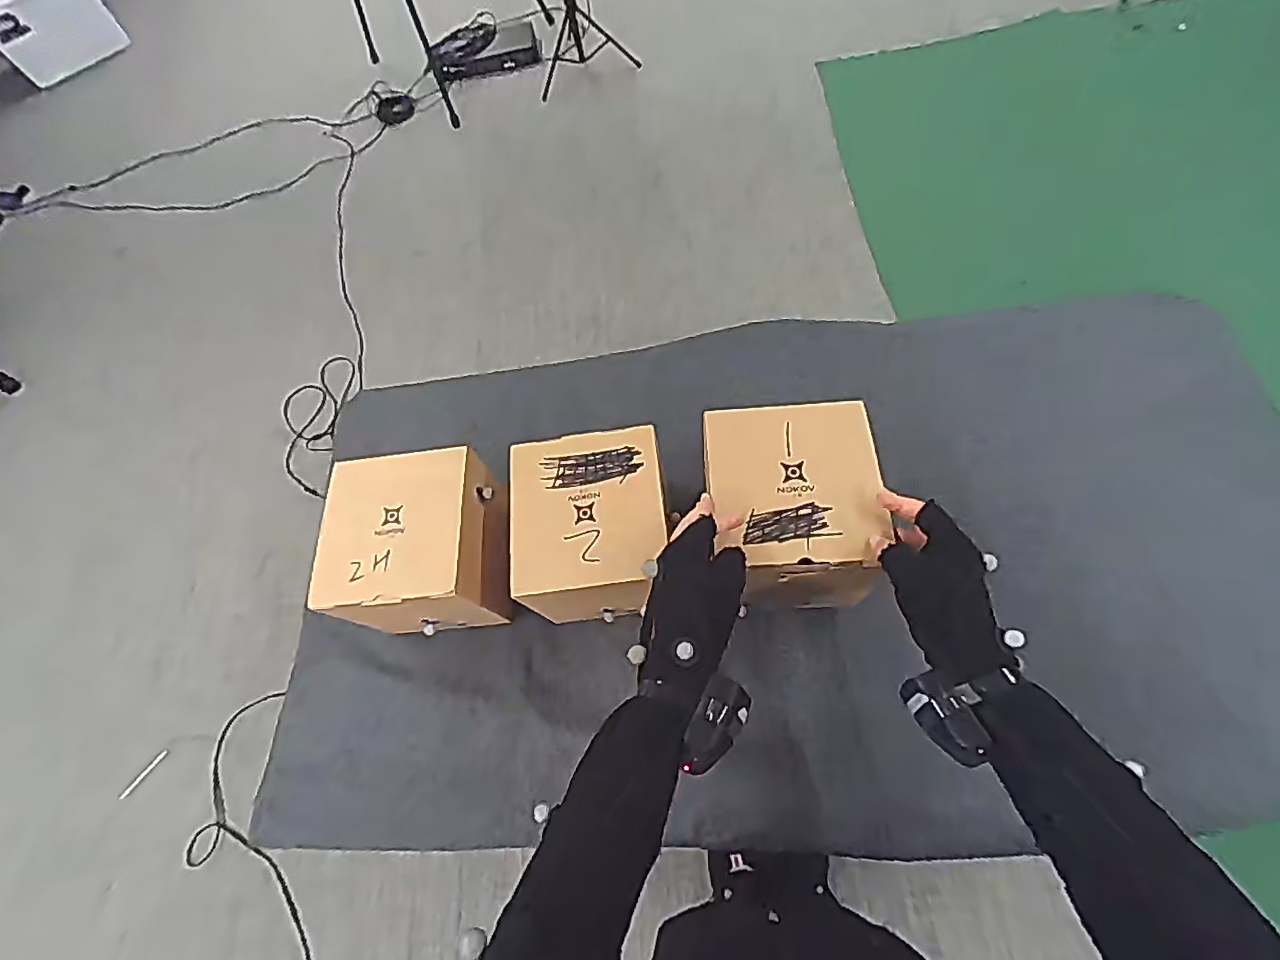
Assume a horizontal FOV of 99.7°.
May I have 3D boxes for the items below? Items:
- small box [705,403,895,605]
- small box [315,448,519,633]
[{"bbox_3d":[0.161,0.038,0.601,0.168,0.176,0.179,-3,62,7],"label":"small box"},{"bbox_3d":[-0.256,0.082,0.668,0.168,0.176,0.179,-6,65,6],"label":"small box"}]
